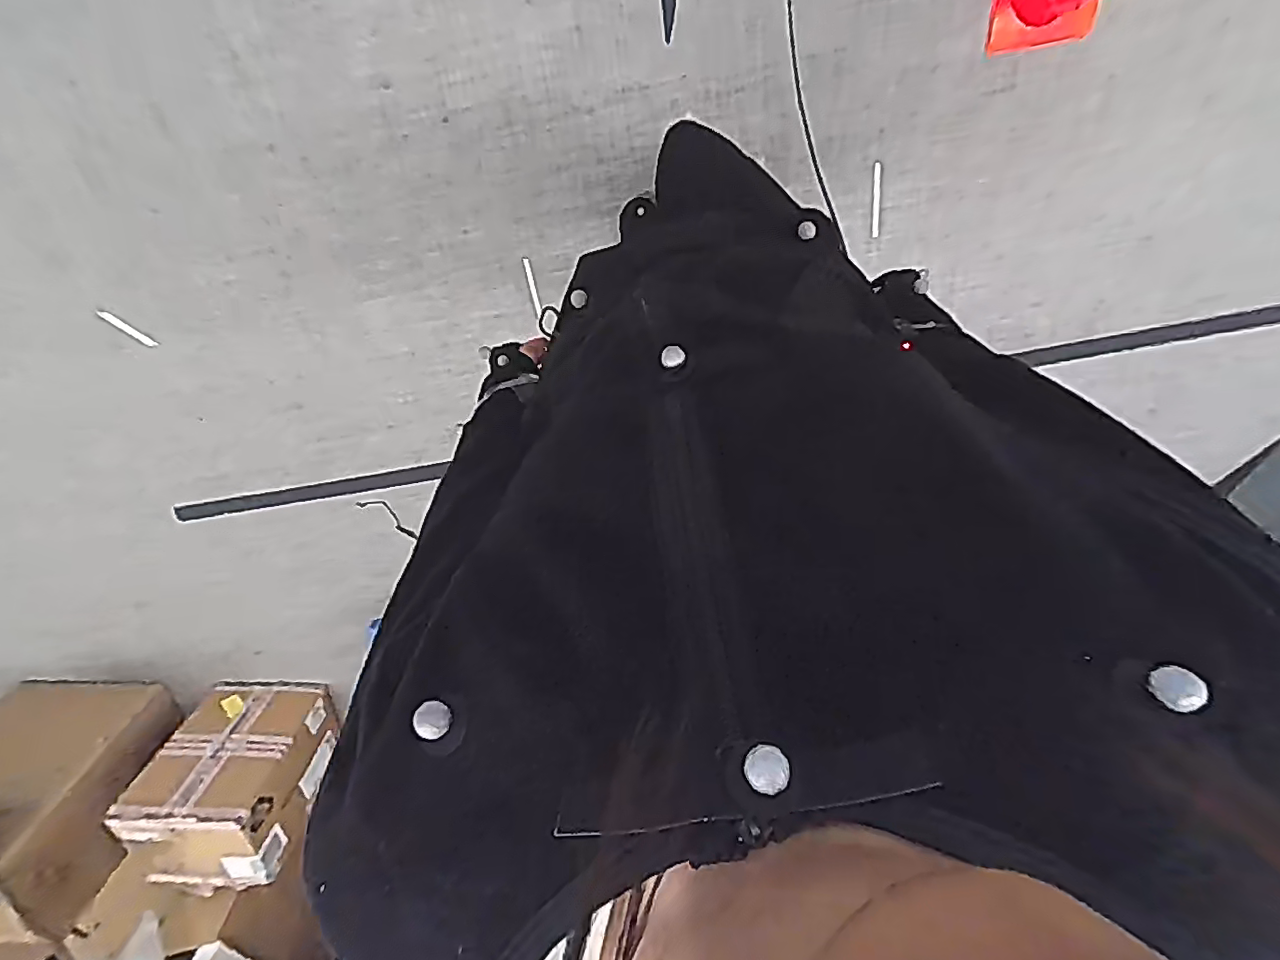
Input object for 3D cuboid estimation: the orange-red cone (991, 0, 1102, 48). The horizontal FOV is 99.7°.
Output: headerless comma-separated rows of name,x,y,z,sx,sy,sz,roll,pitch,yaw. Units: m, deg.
orange-red cone,0.765,-0.845,0.850,0.198,0.360,0.199,-6,120,3
